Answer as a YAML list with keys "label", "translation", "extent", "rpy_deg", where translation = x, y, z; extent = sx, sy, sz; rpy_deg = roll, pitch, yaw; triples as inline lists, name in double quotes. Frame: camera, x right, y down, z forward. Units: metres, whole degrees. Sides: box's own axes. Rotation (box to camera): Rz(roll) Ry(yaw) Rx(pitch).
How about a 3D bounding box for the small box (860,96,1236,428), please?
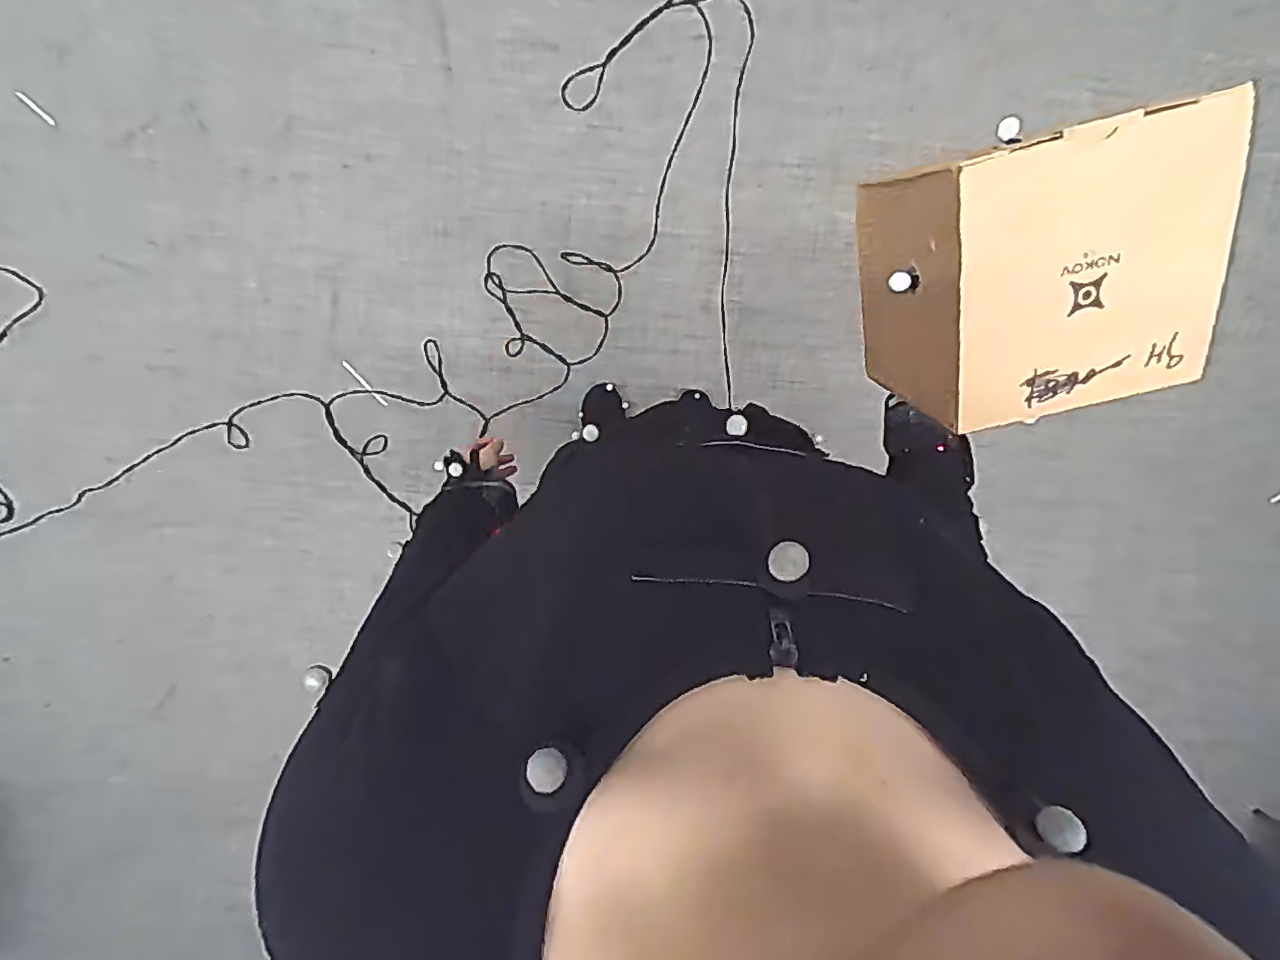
- label: "small box"
  translation: [0.289, -0.163, 0.428]
  extent: [0.168, 0.176, 0.179]
  rpy_deg: [-13, 113, 5]
